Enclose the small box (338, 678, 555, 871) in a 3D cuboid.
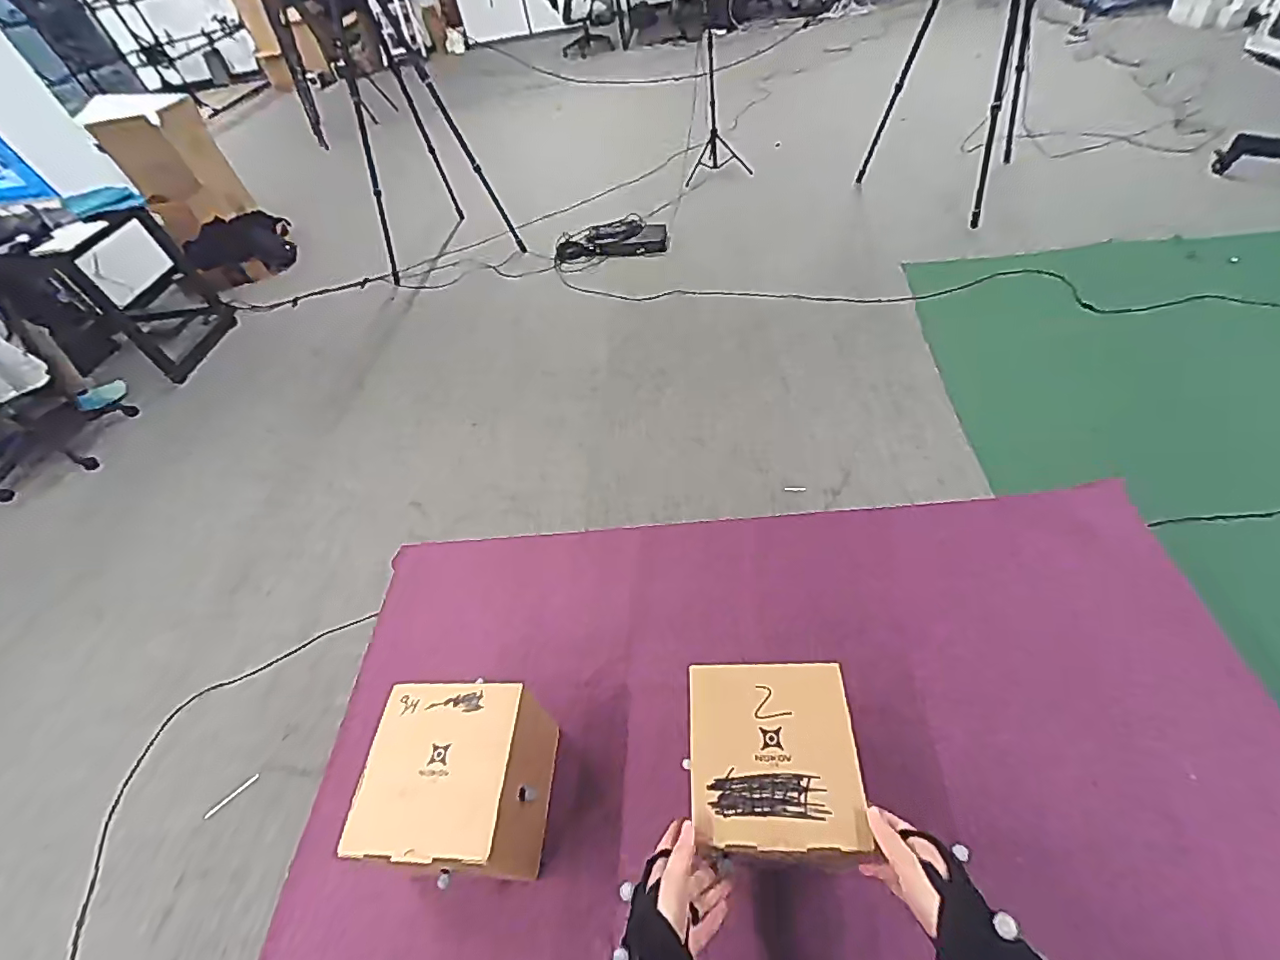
[{"bbox_3d":[-0.210,0.354,0.648,0.168,0.176,0.179,-2,50,8],"label":"small box"}]
